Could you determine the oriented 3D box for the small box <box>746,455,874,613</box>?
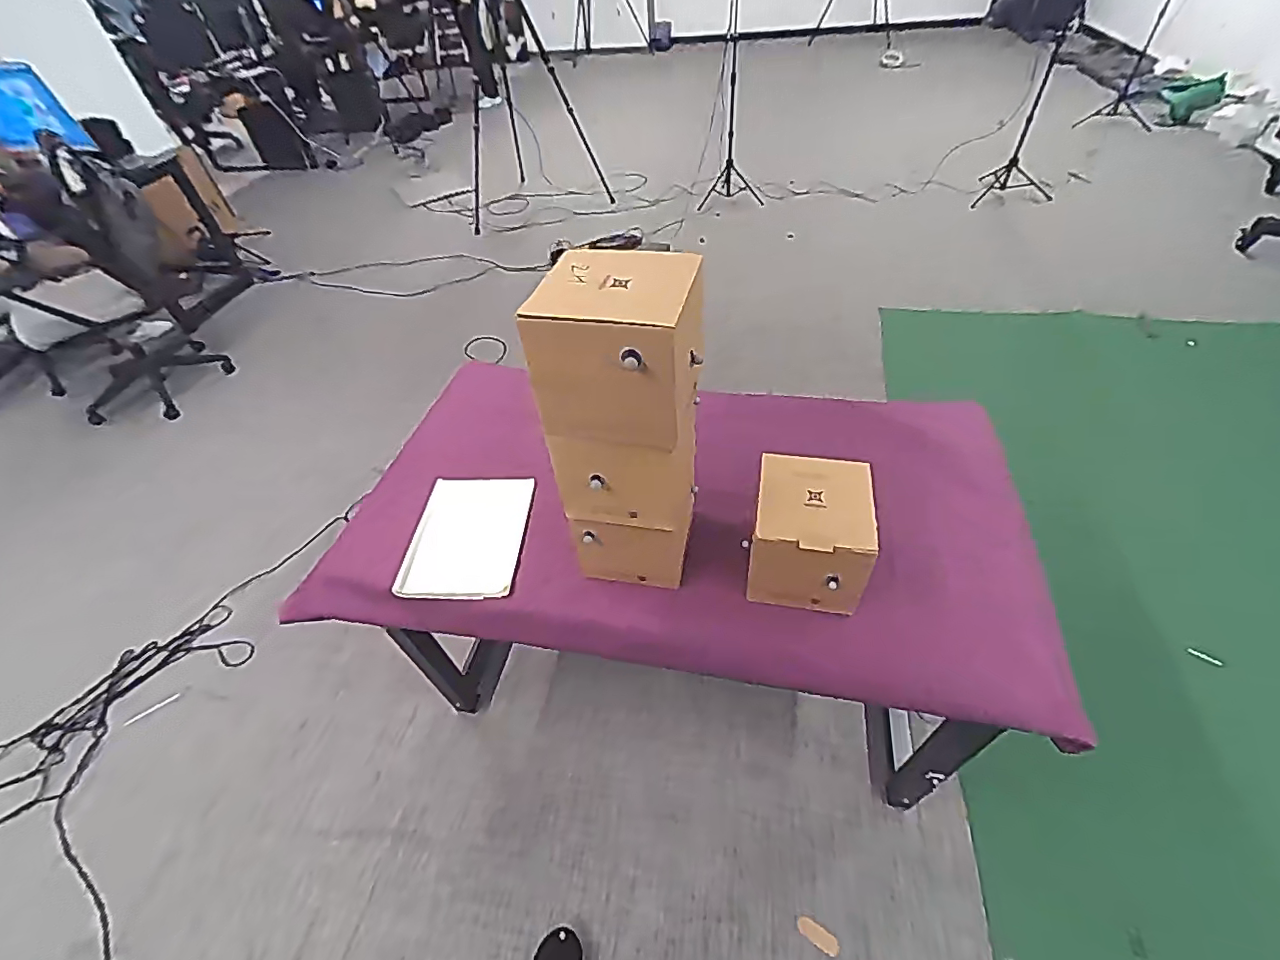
[{"bbox_3d":[0.260,0.087,0.853,0.168,0.176,0.179,7,47,11],"label":"small box"}]

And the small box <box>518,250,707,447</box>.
[{"bbox_3d":[-0.020,-0.159,0.658,0.179,0.176,0.168,8,47,13],"label":"small box"}]

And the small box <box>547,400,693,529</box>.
[{"bbox_3d":[-0.016,-0.050,0.783,0.168,0.176,0.179,6,47,12],"label":"small box"}]
